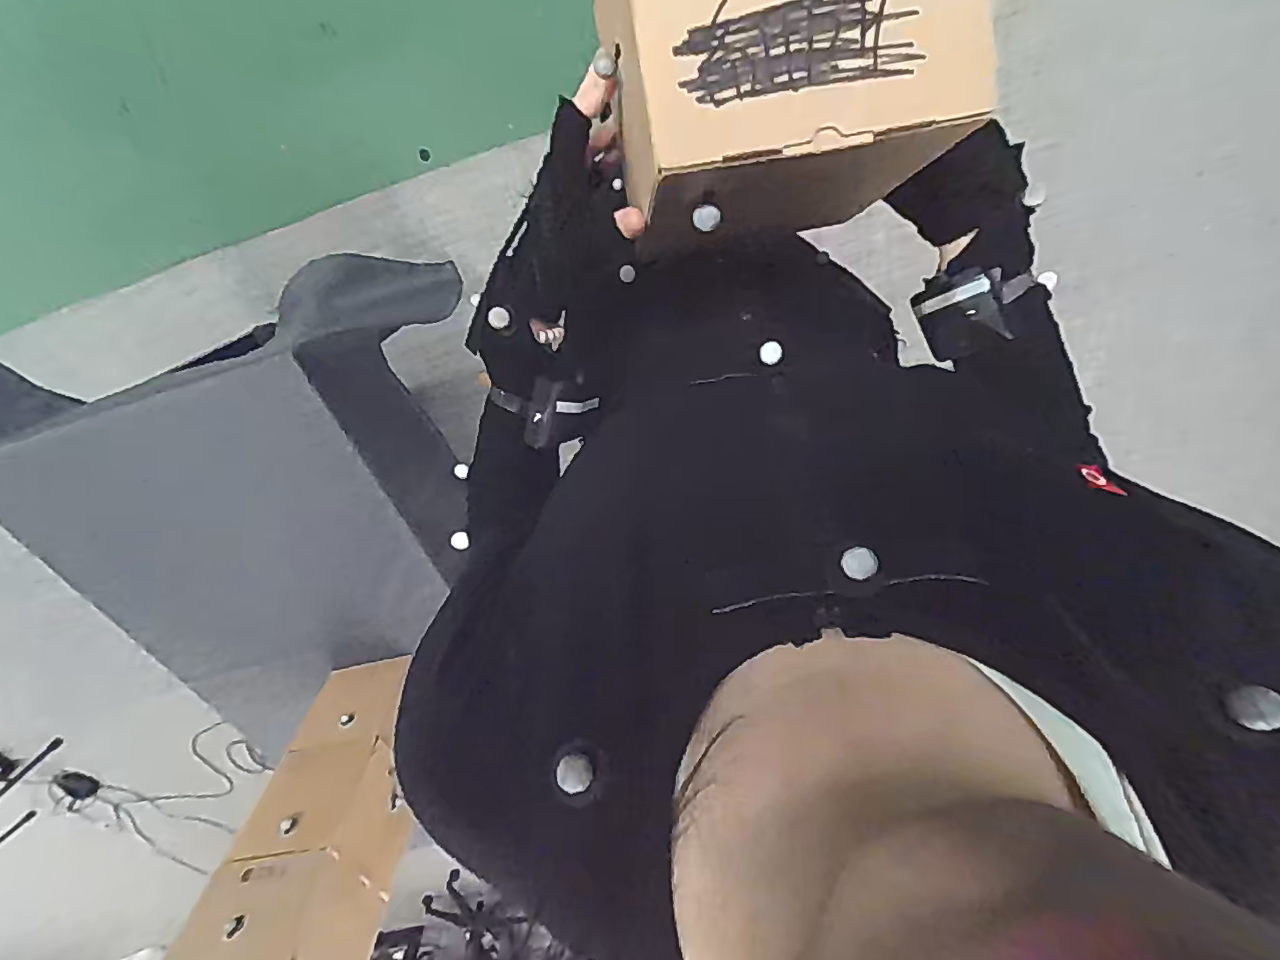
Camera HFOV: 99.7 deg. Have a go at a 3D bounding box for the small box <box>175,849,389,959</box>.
[{"bbox_3d":[-0.469,0.610,0.707,0.168,0.176,0.179,-13,120,9],"label":"small box"}]

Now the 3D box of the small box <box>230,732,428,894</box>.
[{"bbox_3d":[-0.469,0.526,0.849,0.179,0.176,0.168,-14,120,9],"label":"small box"}]

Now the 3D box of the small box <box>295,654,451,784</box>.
[{"bbox_3d":[-0.467,0.442,0.987,0.179,0.176,0.168,-14,120,10],"label":"small box"}]
